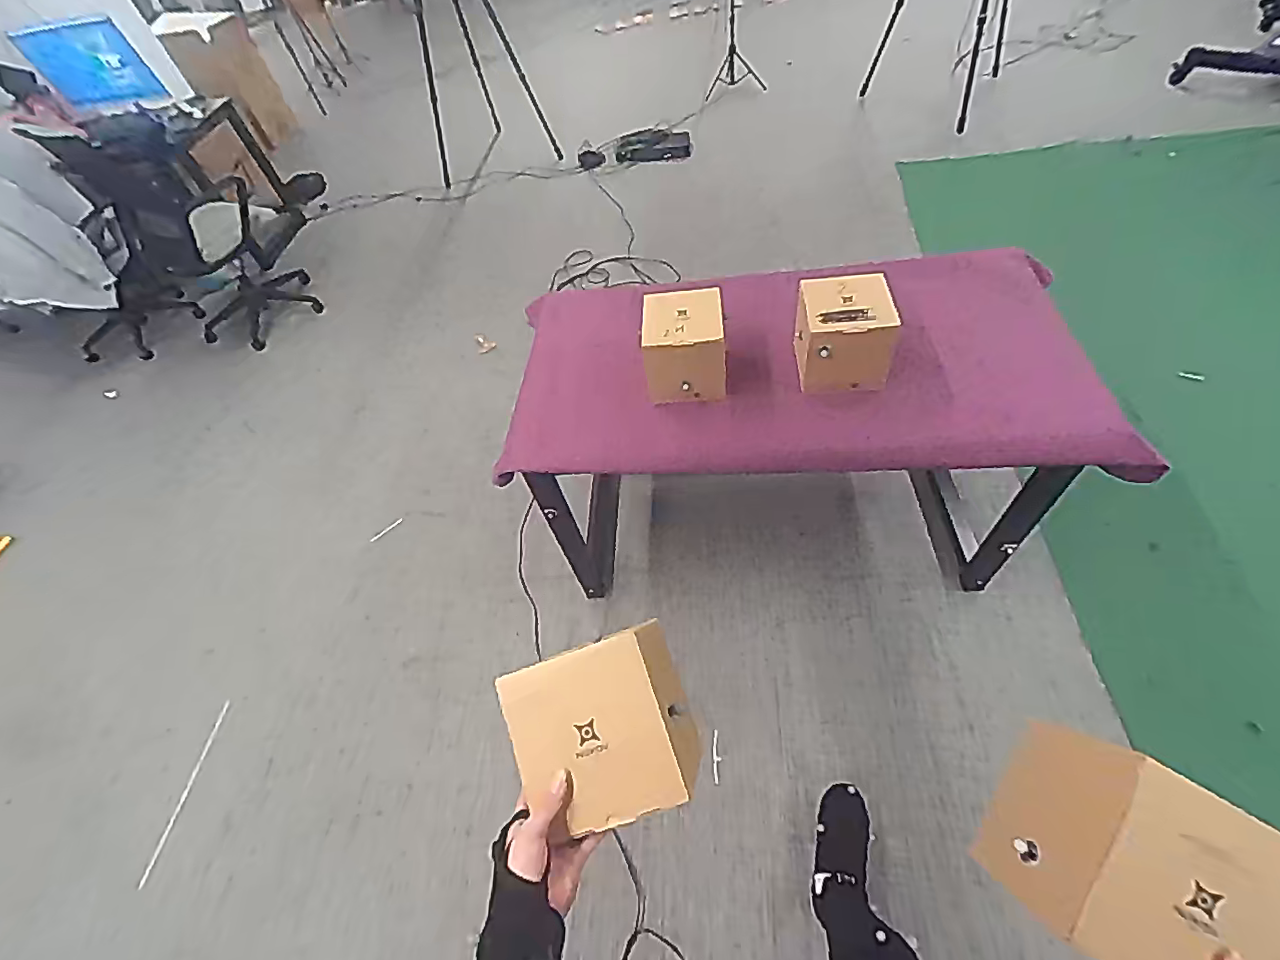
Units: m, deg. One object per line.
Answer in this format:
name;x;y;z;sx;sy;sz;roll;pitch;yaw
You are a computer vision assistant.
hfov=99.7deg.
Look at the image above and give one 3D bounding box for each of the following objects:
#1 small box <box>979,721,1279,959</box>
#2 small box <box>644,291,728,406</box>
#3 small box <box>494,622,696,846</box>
small box;0.472;0.370;0.524;0.168;0.176;0.179;31;81;10
small box;0.103;-0.282;1.171;0.168;0.176;0.179;-3;53;8
small box;-0.042;0.272;0.625;0.168;0.176;0.179;-21;78;5
